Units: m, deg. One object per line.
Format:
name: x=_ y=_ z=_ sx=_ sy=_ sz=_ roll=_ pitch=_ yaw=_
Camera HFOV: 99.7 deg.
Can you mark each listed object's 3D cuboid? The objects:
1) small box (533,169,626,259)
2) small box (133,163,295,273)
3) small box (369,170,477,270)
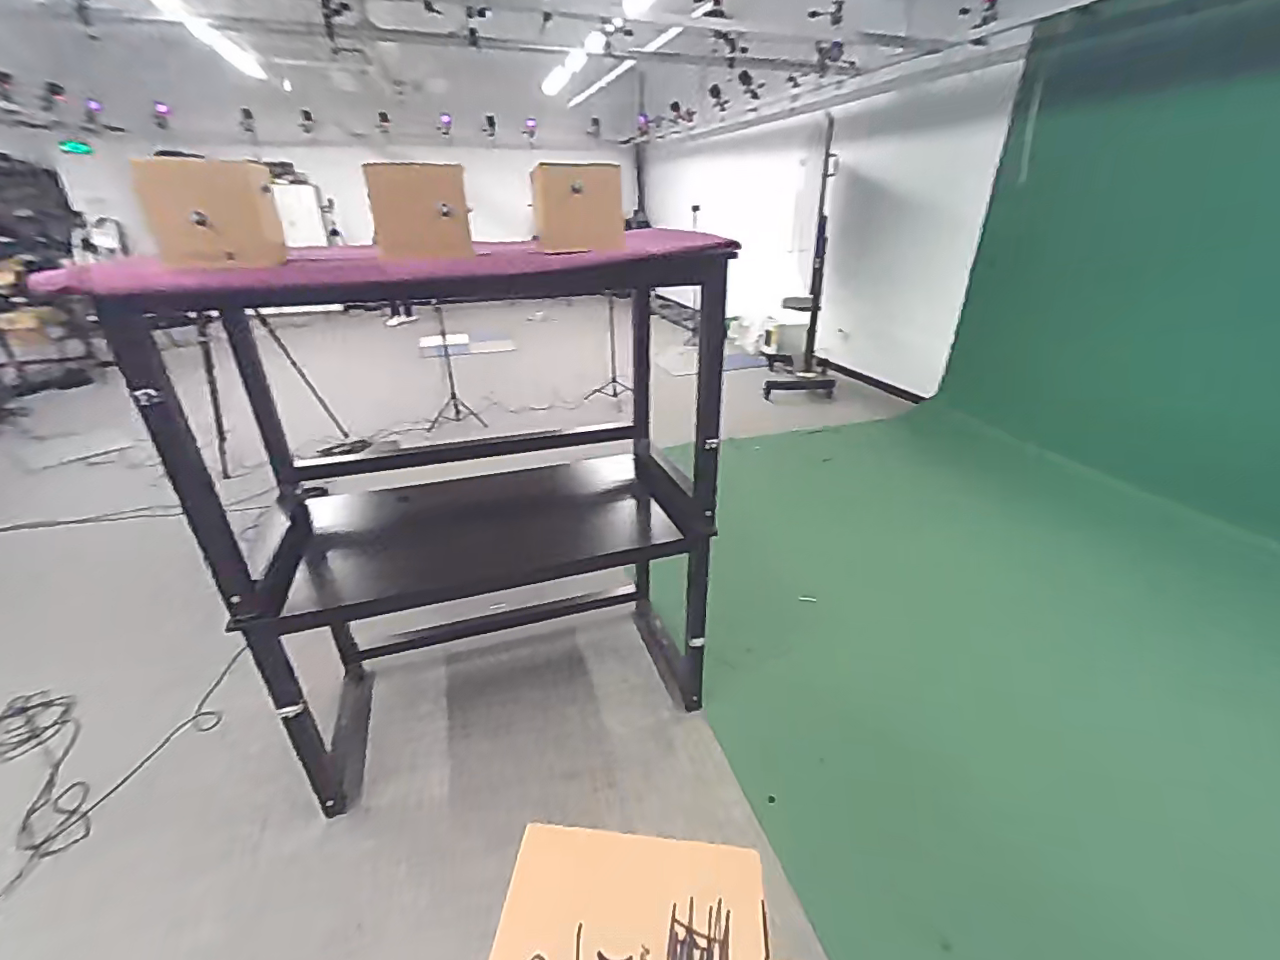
small box: x=-0.135 y=-0.589 z=1.212 sx=0.179 sy=0.176 sz=0.168 roll=-8 pitch=25 yaw=-15
small box: x=-0.744 y=-0.467 z=0.972 sx=0.168 sy=0.176 sz=0.179 roll=-9 pitch=28 yaw=-19
small box: x=-0.432 y=-0.527 z=1.098 sx=0.179 sy=0.176 sz=0.168 roll=-10 pitch=28 yaw=-17
